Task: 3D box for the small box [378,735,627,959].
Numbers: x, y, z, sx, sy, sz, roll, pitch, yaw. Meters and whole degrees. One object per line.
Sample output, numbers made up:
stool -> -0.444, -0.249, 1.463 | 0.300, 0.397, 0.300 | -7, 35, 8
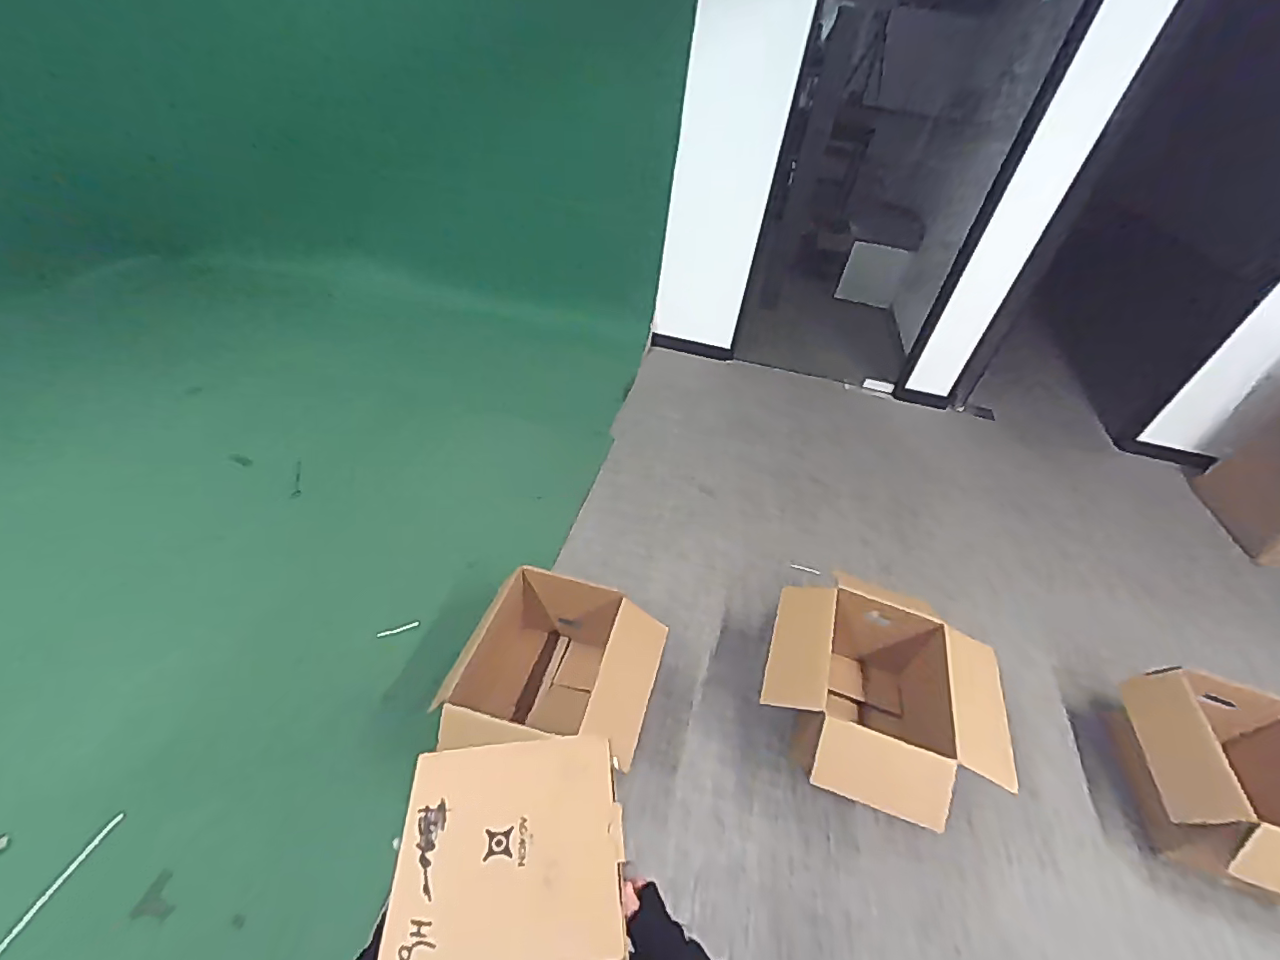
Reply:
small box -> -0.107, 0.357, 0.488 | 0.179, 0.176, 0.168 | -2, 36, -6
